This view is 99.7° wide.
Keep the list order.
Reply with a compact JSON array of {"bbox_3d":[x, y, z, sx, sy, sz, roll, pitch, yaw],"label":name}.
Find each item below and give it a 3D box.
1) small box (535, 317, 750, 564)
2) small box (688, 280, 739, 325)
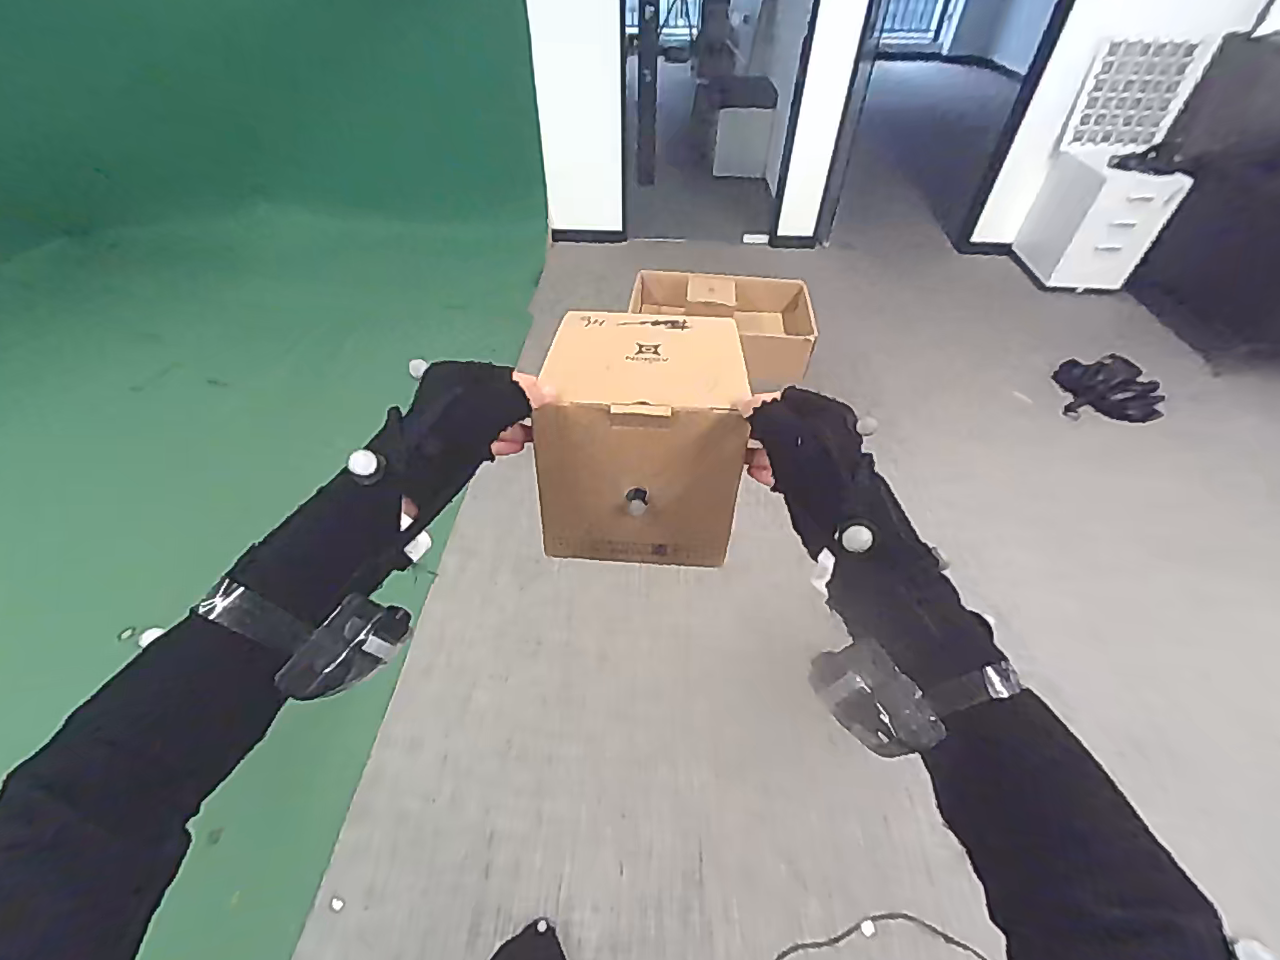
[{"bbox_3d":[0.006,-0.039,0.515,0.168,0.176,0.179,4,39,2],"label":"small box"},{"bbox_3d":[0.256,-0.585,1.916,0.168,0.176,0.179,6,44,2],"label":"small box"}]
